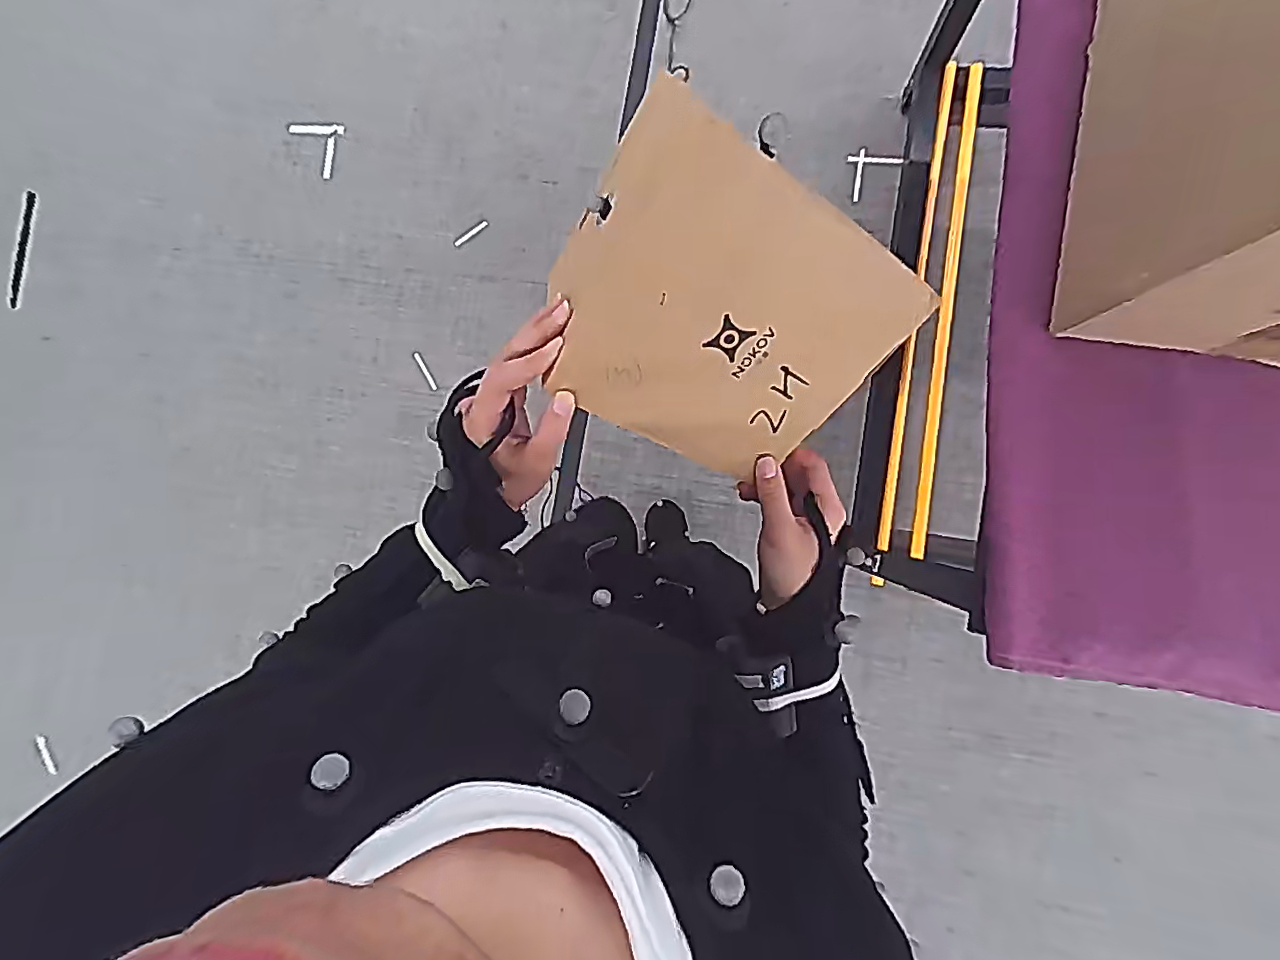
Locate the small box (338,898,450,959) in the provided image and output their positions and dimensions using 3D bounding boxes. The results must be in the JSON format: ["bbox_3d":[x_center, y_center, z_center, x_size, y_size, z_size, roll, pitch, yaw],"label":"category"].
[{"bbox_3d":[-0.521,1.041,1.148,0.168,0.176,0.179,3,88,8],"label":"small box"}]
